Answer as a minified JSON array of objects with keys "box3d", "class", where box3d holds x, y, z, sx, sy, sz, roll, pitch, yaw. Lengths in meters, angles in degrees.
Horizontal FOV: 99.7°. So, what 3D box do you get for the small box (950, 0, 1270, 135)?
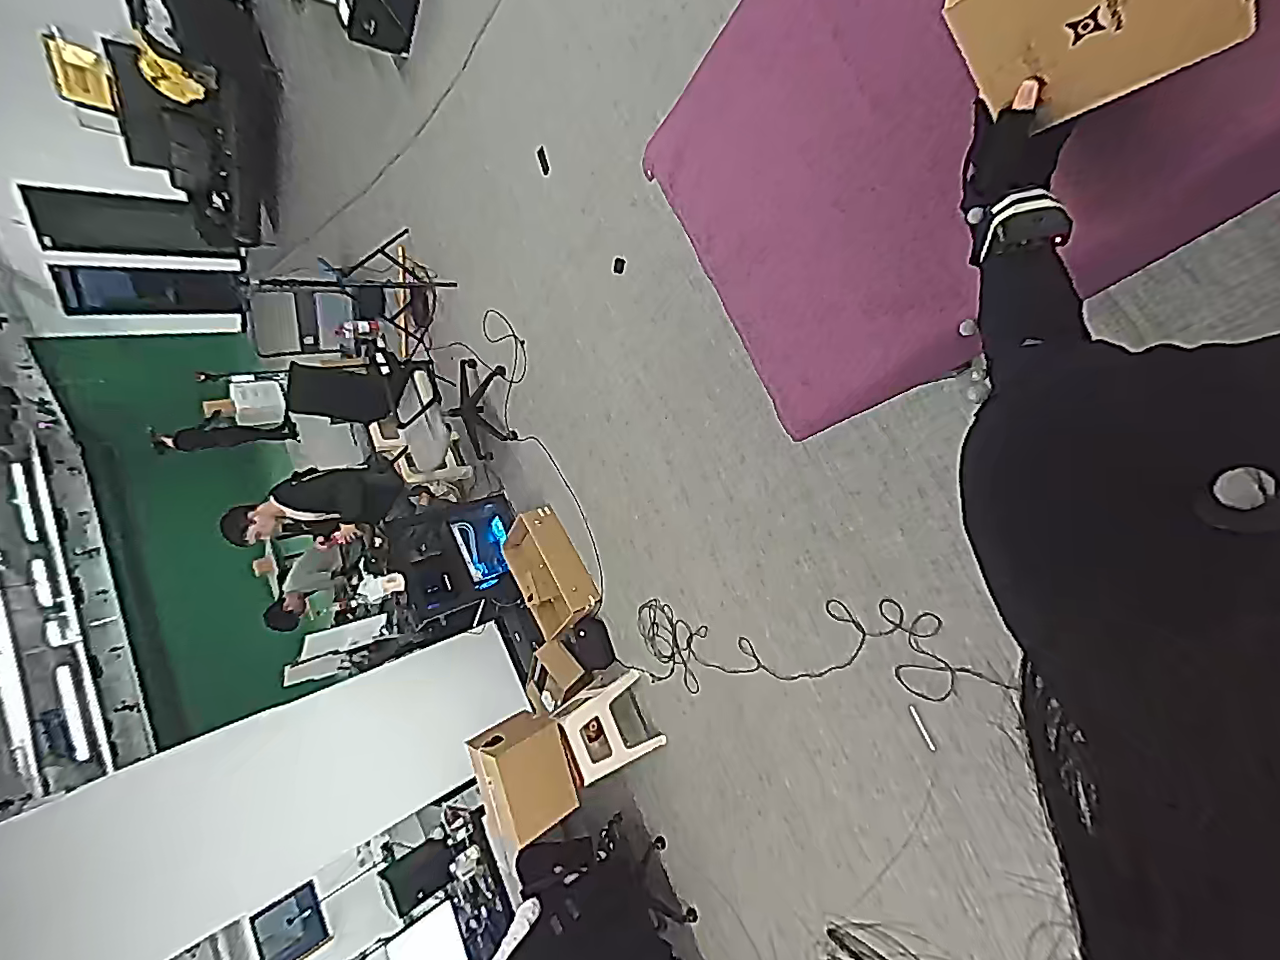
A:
[{"box3d":[0.403,-0.464,0.468,0.179,0.168,0.176,-2,66,54],"class":"small box"}]
